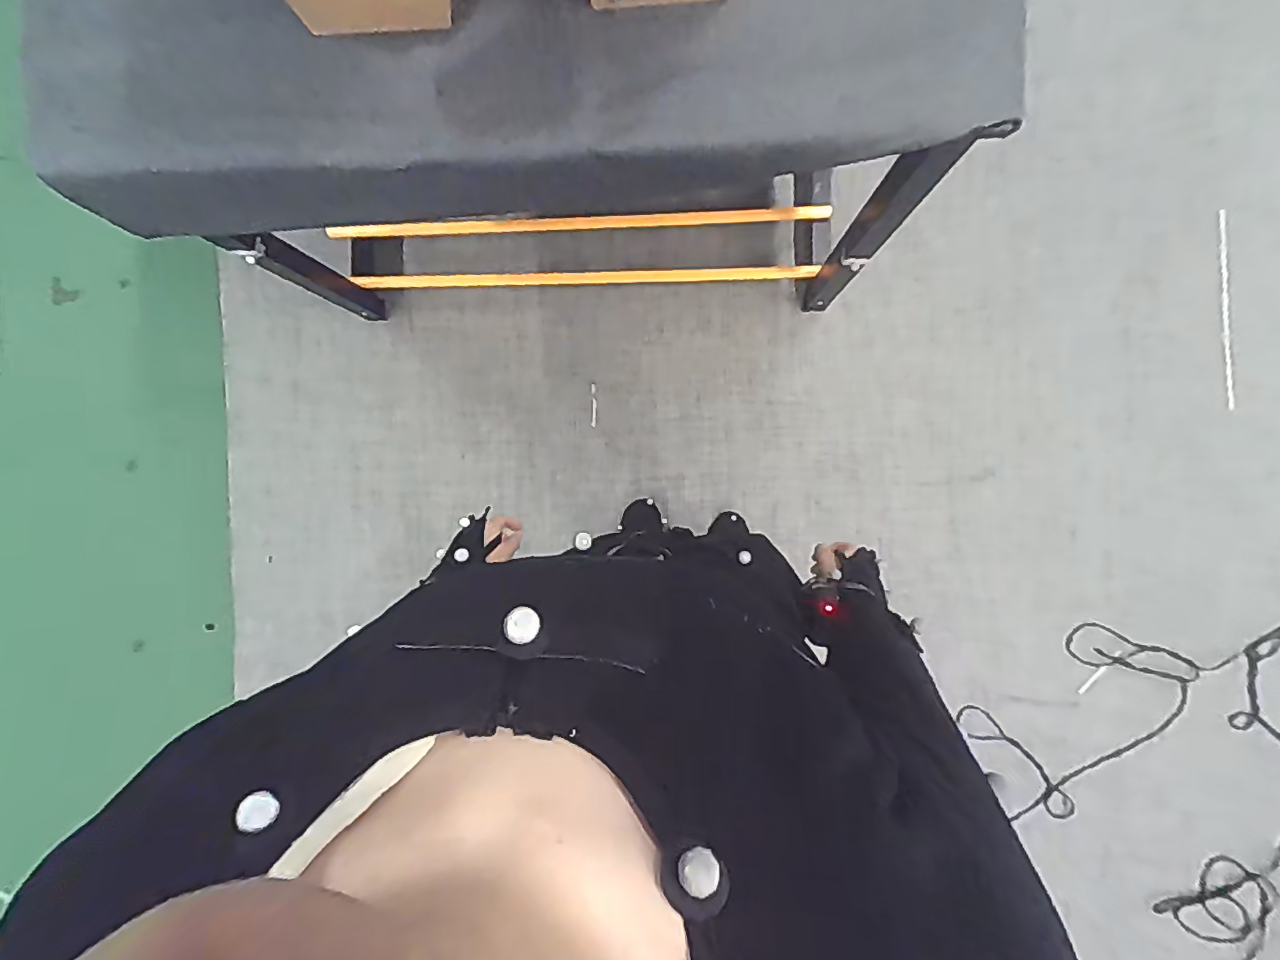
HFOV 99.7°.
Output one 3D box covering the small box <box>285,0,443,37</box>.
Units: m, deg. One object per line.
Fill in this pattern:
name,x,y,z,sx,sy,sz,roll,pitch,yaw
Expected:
small box,-0.321,-0.625,0.581,0.179,0.176,0.168,-1,89,4
